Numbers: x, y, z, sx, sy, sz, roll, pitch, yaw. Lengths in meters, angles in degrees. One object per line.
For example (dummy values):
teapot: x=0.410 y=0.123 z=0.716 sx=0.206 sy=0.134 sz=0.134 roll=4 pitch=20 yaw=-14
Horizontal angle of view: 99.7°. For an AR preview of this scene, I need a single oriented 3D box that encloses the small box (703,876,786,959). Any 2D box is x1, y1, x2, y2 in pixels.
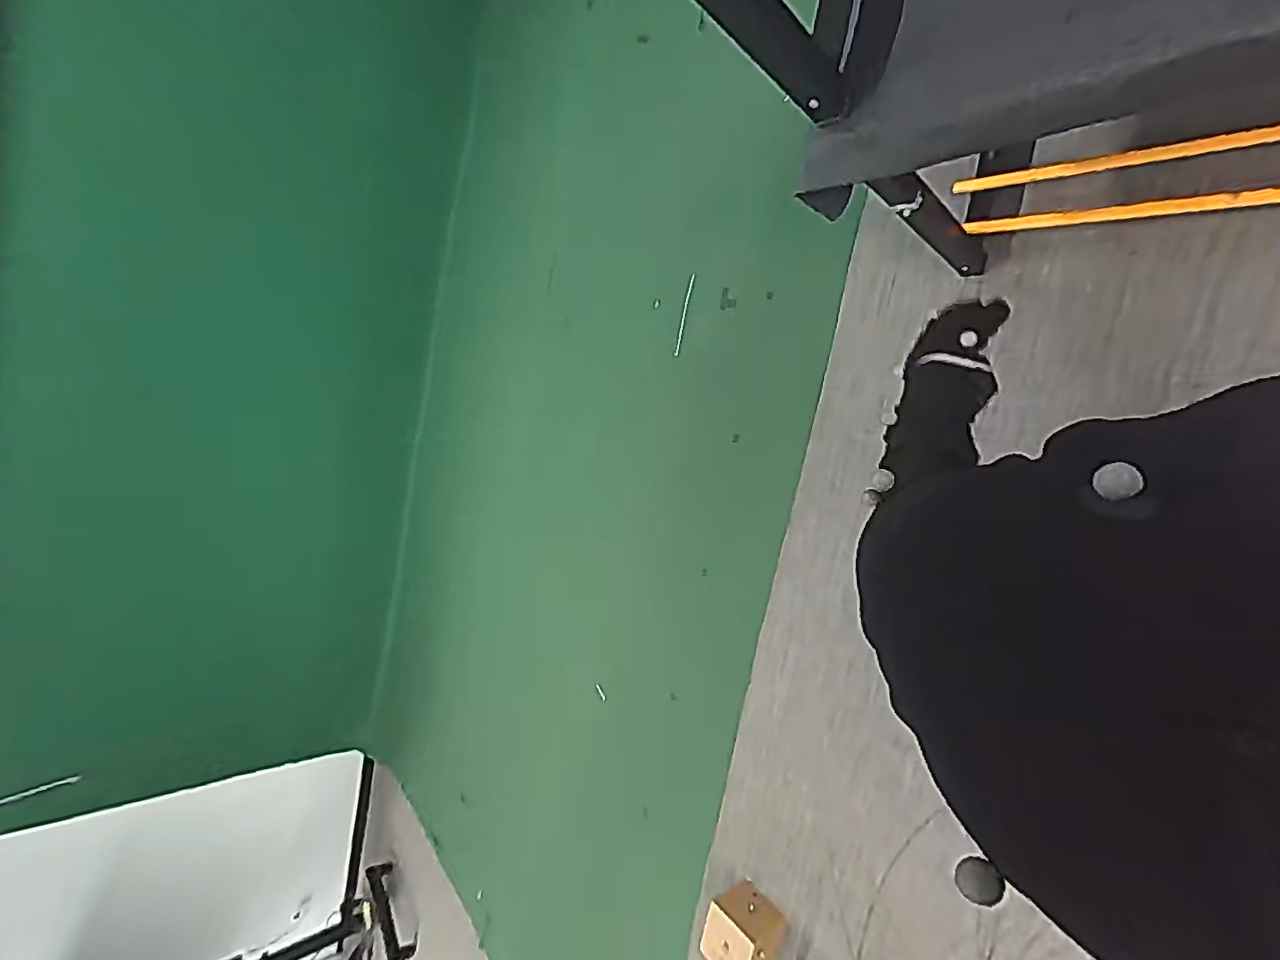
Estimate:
small box: x=0.324 y=1.369 z=1.652 sx=0.168 sy=0.176 sz=0.179 roll=20 pitch=100 yaw=47
